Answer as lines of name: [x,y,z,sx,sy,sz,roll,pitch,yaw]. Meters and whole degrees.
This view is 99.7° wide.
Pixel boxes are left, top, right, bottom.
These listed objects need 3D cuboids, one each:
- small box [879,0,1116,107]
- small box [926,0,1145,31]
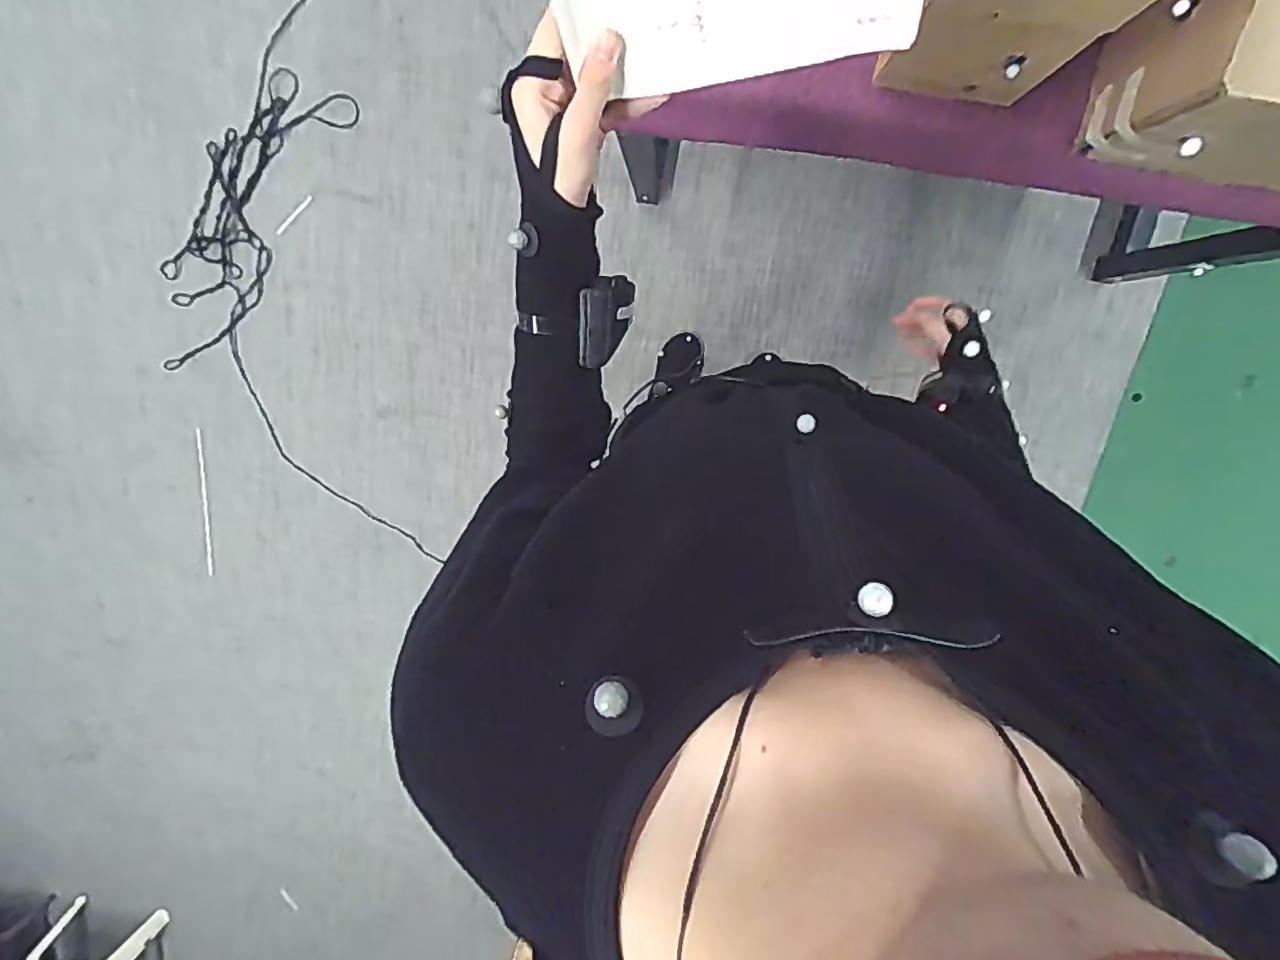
small box: [0.364,-0.514,0.545,0.168,0.176,0.179,11,102,2]
small box: [0.343,-0.470,0.388,0.179,0.176,0.168,11,103,2]
